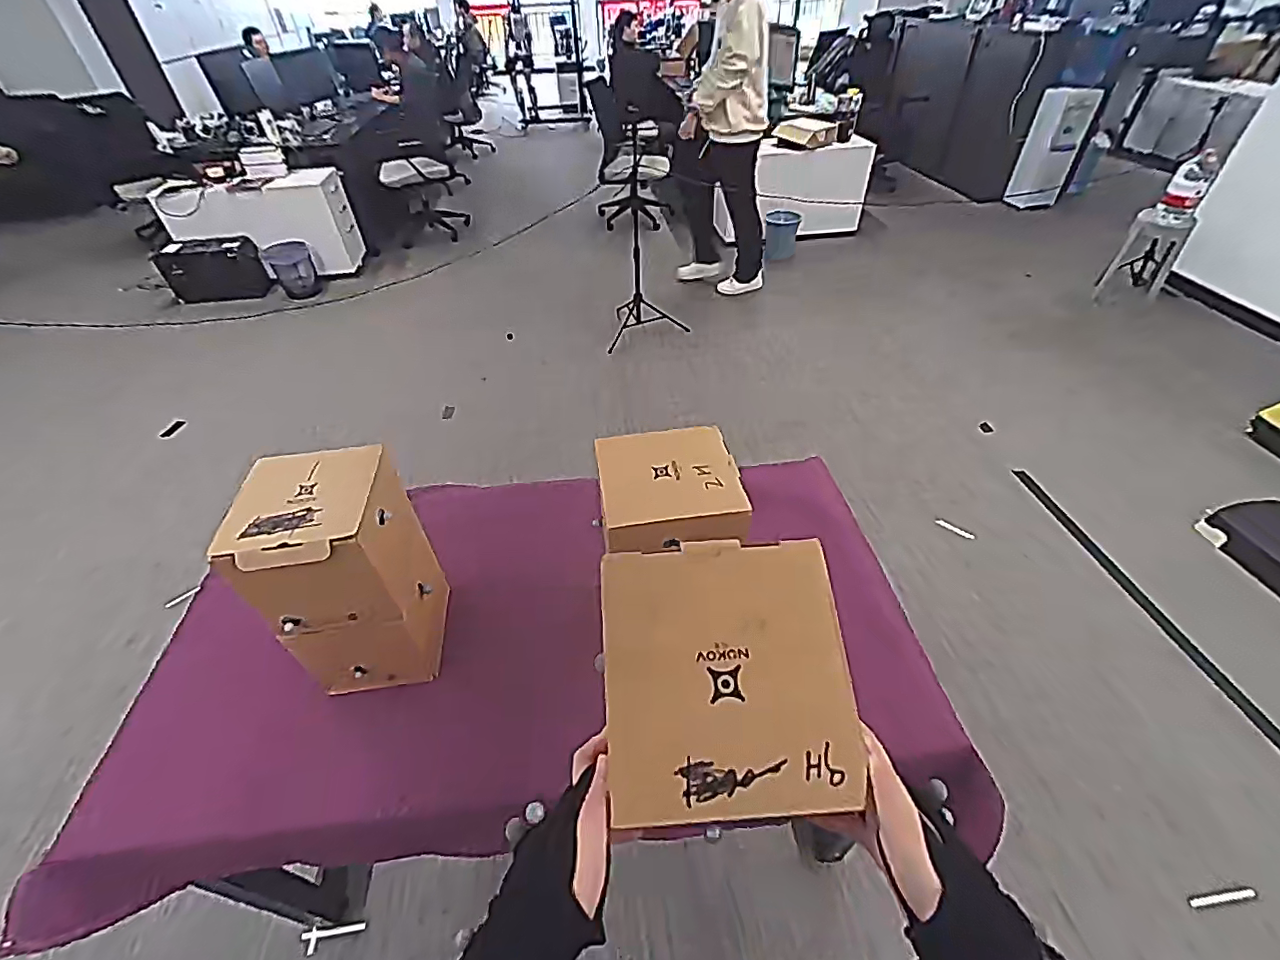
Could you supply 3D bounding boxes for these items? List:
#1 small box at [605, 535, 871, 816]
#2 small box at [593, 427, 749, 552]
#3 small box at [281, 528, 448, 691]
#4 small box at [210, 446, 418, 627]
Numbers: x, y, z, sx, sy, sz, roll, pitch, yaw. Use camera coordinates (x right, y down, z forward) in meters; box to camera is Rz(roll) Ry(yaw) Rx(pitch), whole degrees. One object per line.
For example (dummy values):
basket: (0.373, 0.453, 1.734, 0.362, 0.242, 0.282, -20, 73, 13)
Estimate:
small box: (0.059, 0.157, 0.440, 0.168, 0.176, 0.179, -4, 66, 0)
small box: (0.036, 0.050, 0.736, 0.179, 0.176, 0.168, -6, 44, -5)
small box: (-0.407, 0.199, 0.839, 0.168, 0.176, 0.179, -7, 44, -5)
small box: (-0.413, 0.080, 0.726, 0.168, 0.176, 0.179, -7, 44, -6)
